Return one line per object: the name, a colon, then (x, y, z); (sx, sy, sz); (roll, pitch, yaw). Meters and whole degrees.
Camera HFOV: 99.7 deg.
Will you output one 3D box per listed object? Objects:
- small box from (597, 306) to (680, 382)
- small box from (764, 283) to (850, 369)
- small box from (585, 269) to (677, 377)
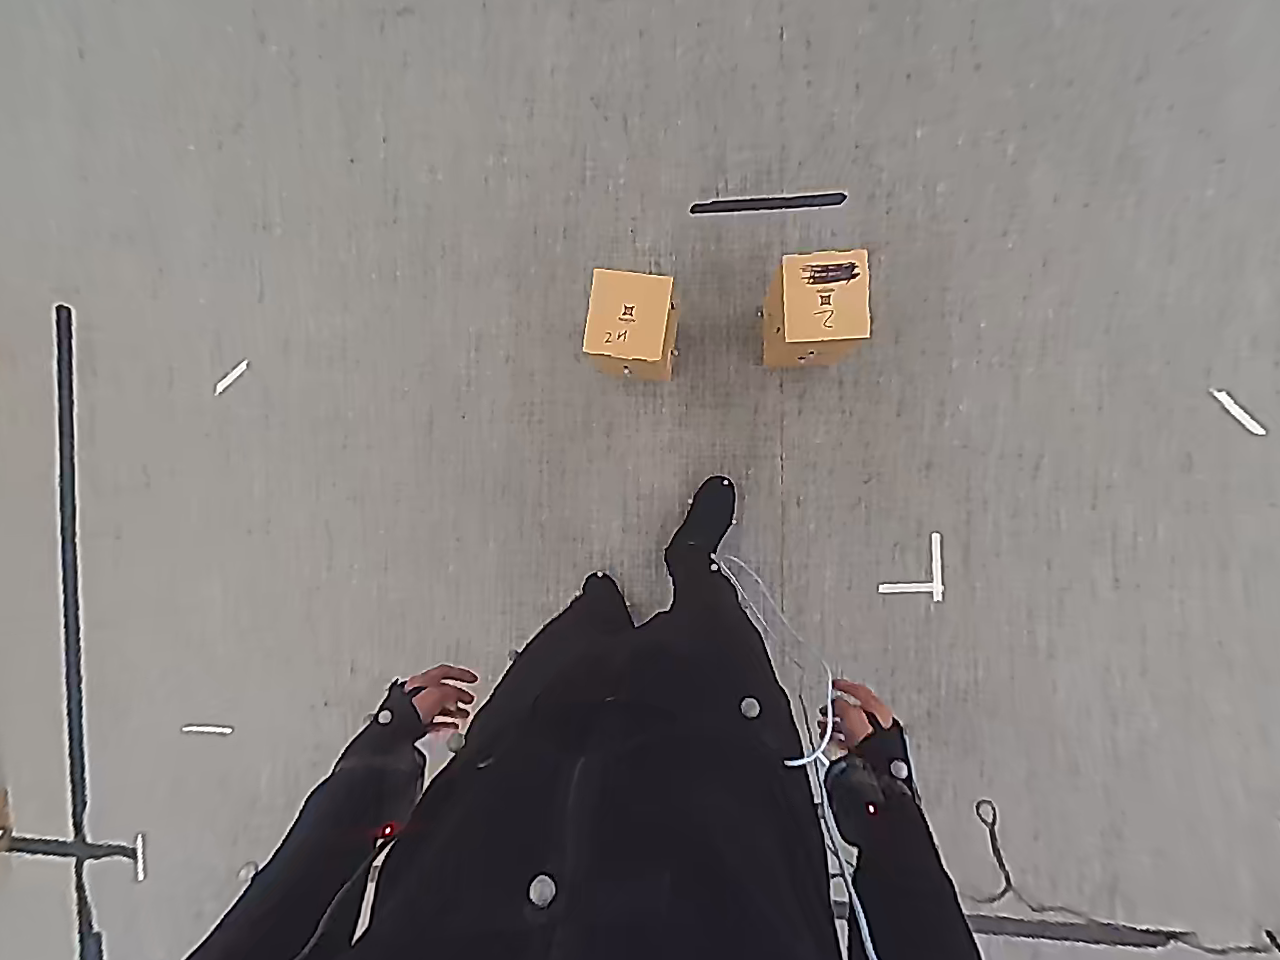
small box: (0.003, -0.344, 1.347); (0.179, 0.176, 0.168); (8, 93, 6)
small box: (0.396, -0.365, 1.308); (0.179, 0.176, 0.168); (-1, 92, 4)
small box: (-0.013, -0.336, 1.183); (0.168, 0.176, 0.179); (10, 93, 6)
